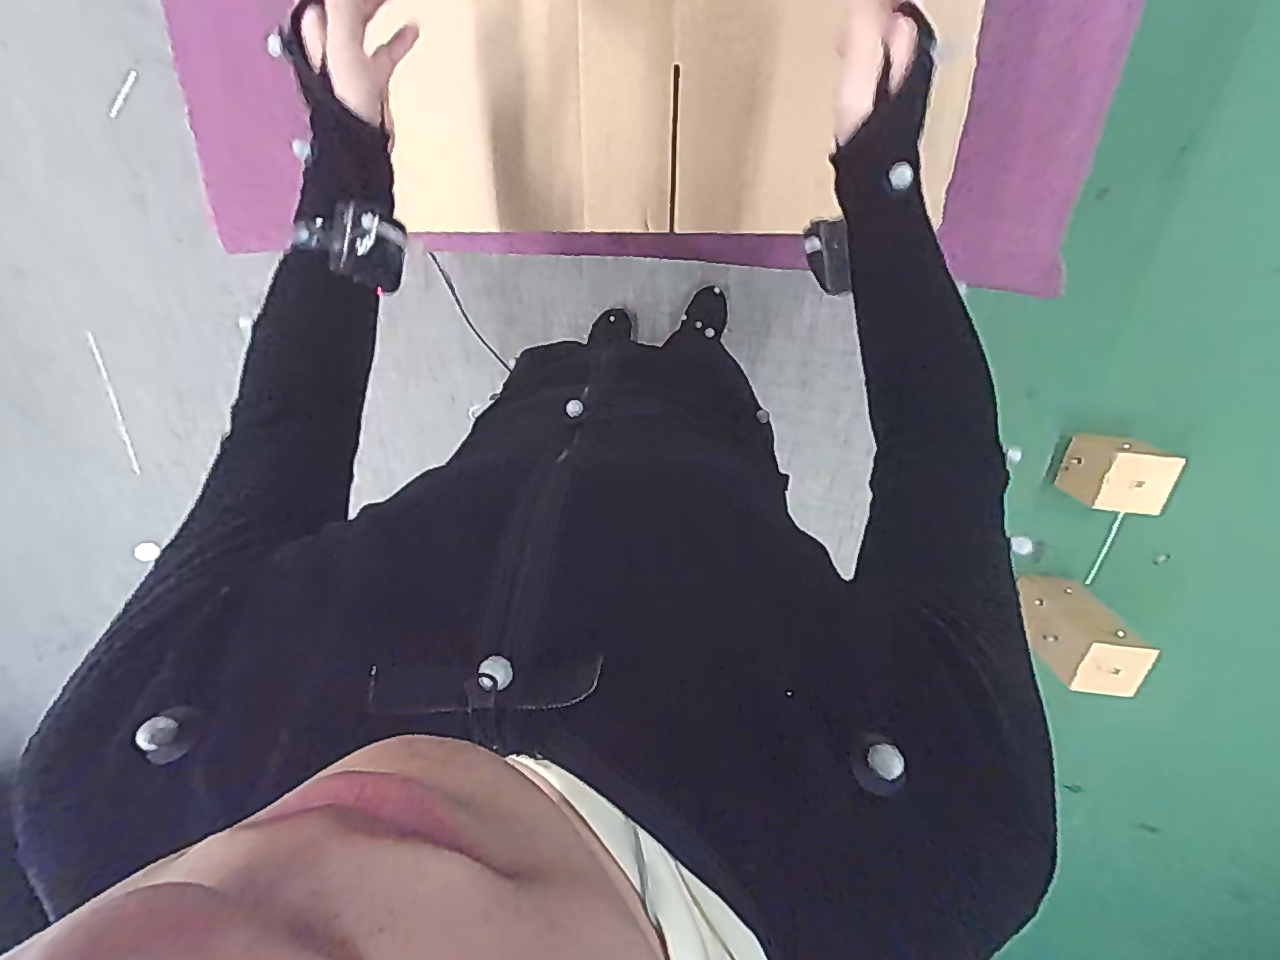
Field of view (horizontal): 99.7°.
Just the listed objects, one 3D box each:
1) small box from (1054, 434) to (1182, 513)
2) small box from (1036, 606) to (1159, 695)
[{"bbox_3d":[1.315,-0.023,1.501,0.179,0.176,0.168,5,113,3],"label":"small box"},{"bbox_3d":[1.283,0.477,1.531,0.179,0.176,0.168,6,113,2],"label":"small box"}]
